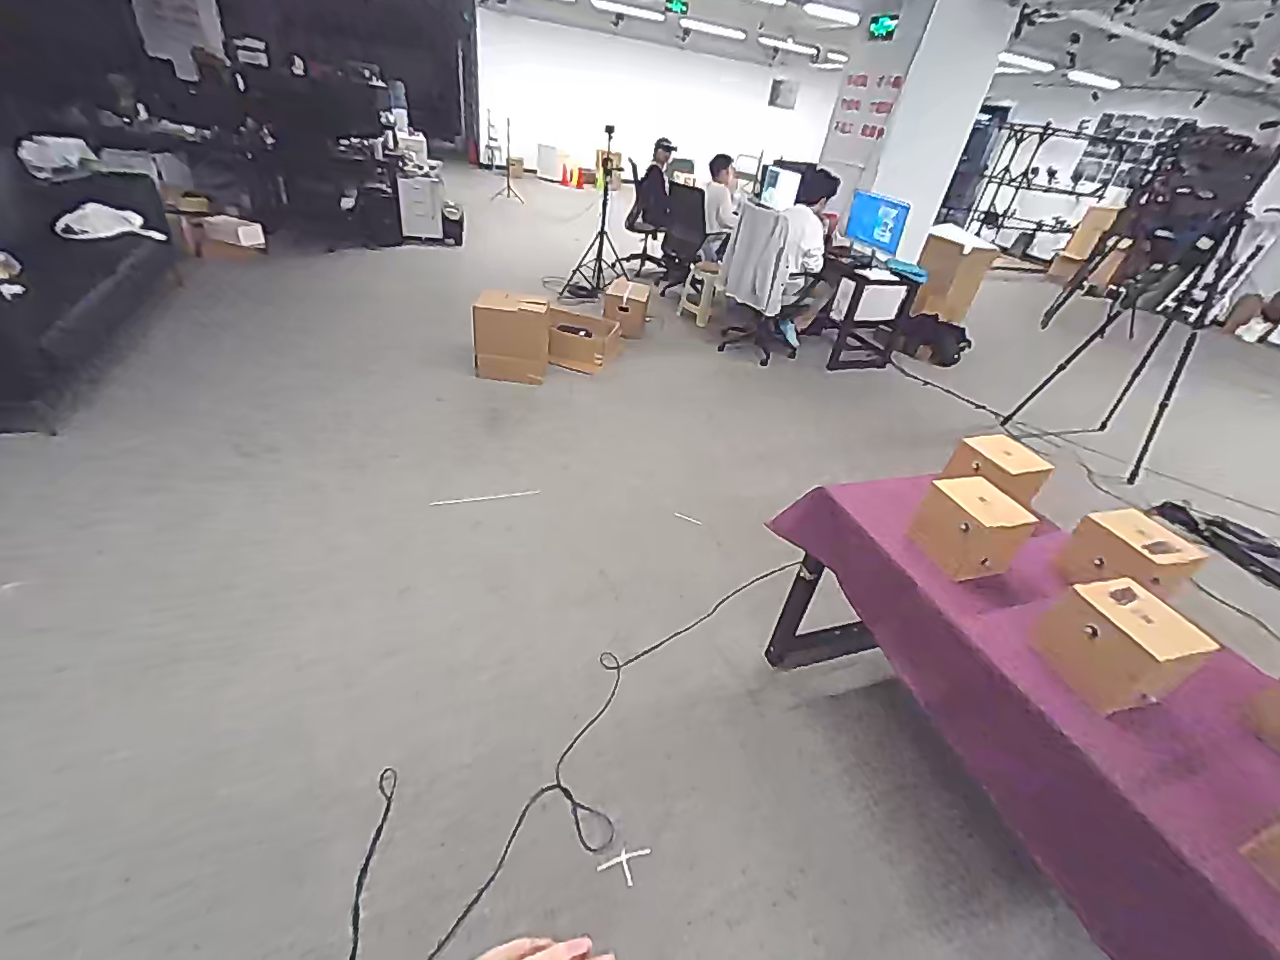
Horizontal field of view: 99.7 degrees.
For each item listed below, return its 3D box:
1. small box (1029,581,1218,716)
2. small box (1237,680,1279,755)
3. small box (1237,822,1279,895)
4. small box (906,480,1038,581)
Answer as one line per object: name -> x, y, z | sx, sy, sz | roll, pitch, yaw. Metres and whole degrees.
small box -> 0.912, 0.320, 1.042 | 0.168, 0.176, 0.179 | -3, 37, -17
small box -> 1.253, 0.429, 0.966 | 0.179, 0.176, 0.168 | -7, 37, -22
small box -> 1.018, 0.546, 0.742 | 0.168, 0.176, 0.179 | -5, 37, -21
small box -> 0.785, 0.119, 1.302 | 0.168, 0.176, 0.179 | -4, 38, -19
